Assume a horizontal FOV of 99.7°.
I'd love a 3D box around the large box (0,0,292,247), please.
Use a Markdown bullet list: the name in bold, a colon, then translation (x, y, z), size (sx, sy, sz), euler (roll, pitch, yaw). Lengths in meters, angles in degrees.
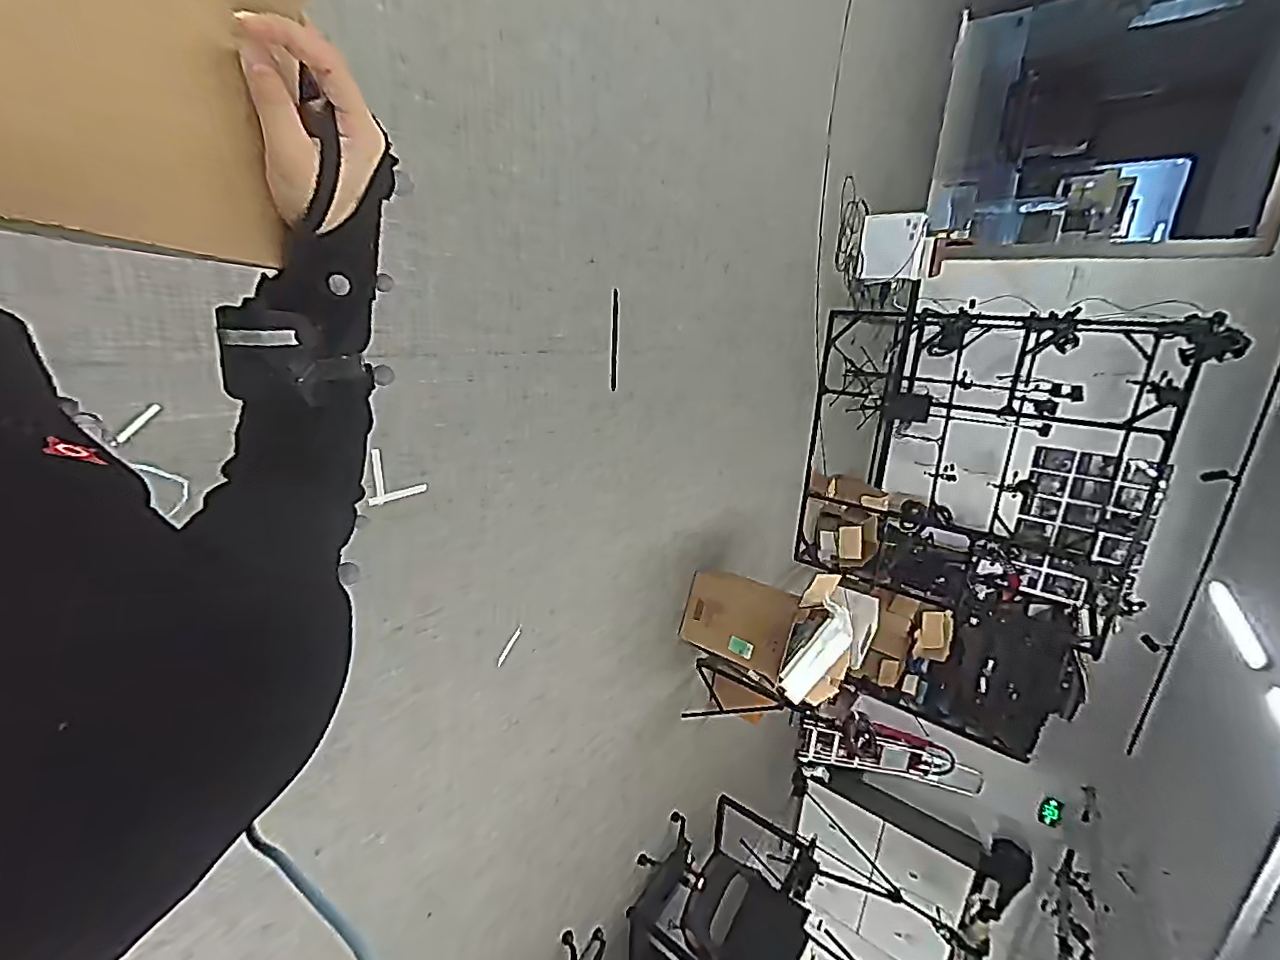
- **large box**: translation (-0.426, -0.299, 0.205), size (0.408, 0.320, 0.320), euler (-15, 119, -59)
